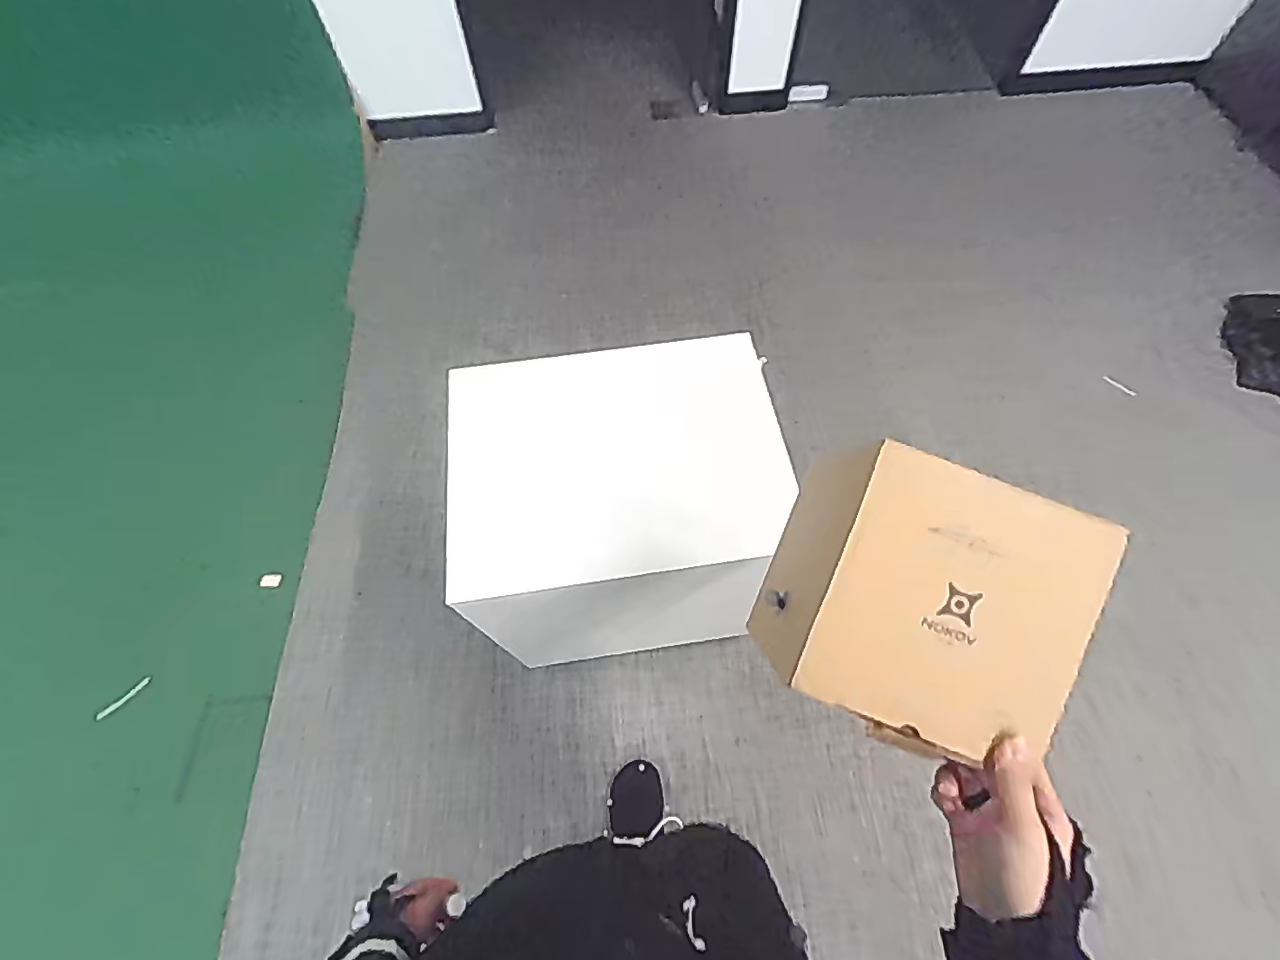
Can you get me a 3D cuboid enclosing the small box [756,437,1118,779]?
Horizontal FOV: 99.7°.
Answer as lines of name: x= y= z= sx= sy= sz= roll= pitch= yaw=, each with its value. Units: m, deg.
small box: x=0.202 y=0.084 z=0.426 sx=0.168 sy=0.176 sz=0.179 roll=21 pitch=88 yaw=2
